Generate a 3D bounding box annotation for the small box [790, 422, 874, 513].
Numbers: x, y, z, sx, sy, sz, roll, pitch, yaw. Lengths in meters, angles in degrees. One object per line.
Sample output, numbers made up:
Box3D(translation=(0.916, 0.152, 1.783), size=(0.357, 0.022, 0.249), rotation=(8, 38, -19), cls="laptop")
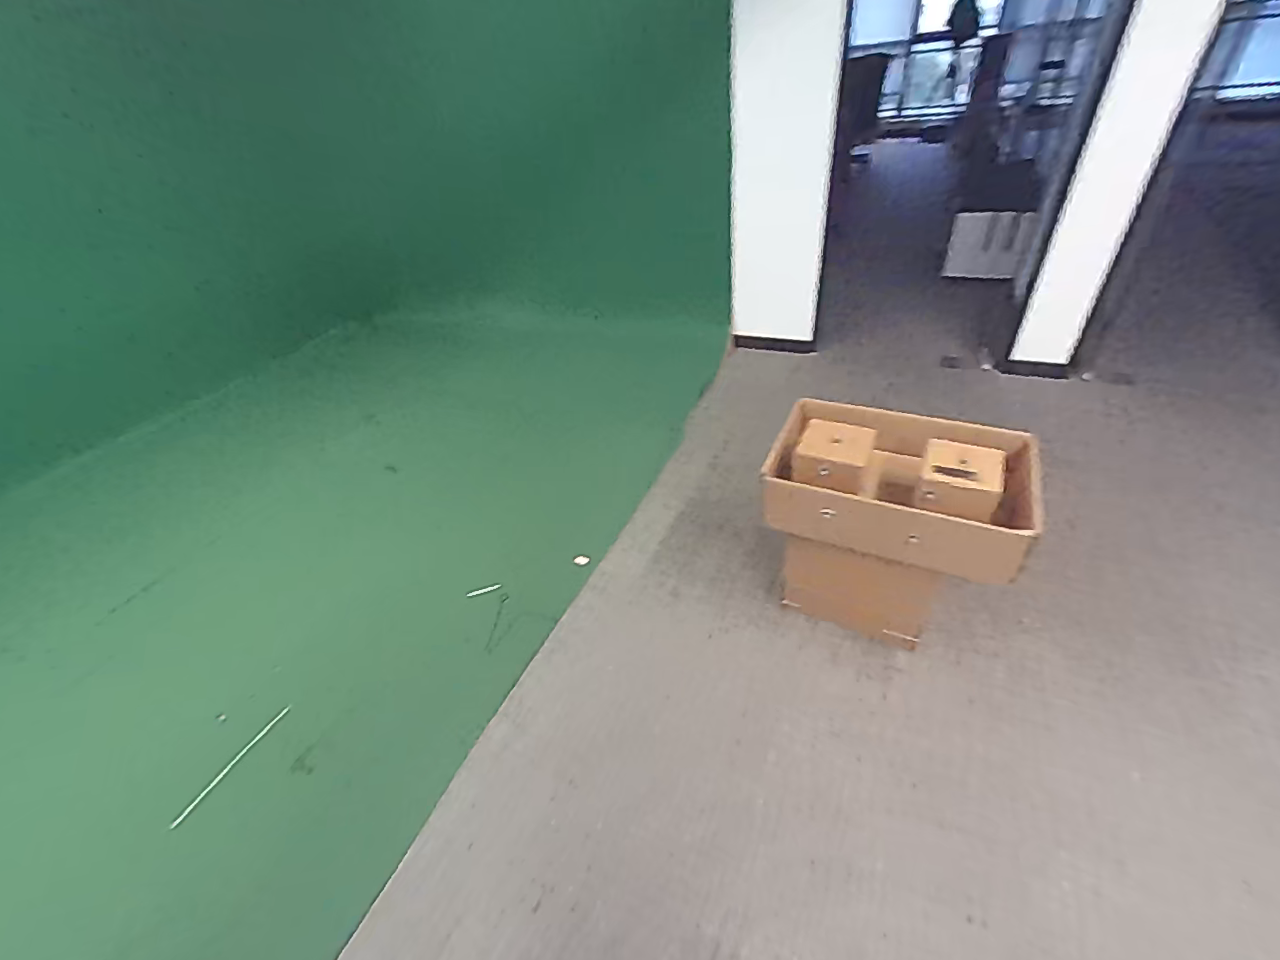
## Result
Box3D(translation=(0.519, -0.034, 1.475), size=(0.179, 0.176, 0.168), rotation=(15, 45, 25), cls="small box")
